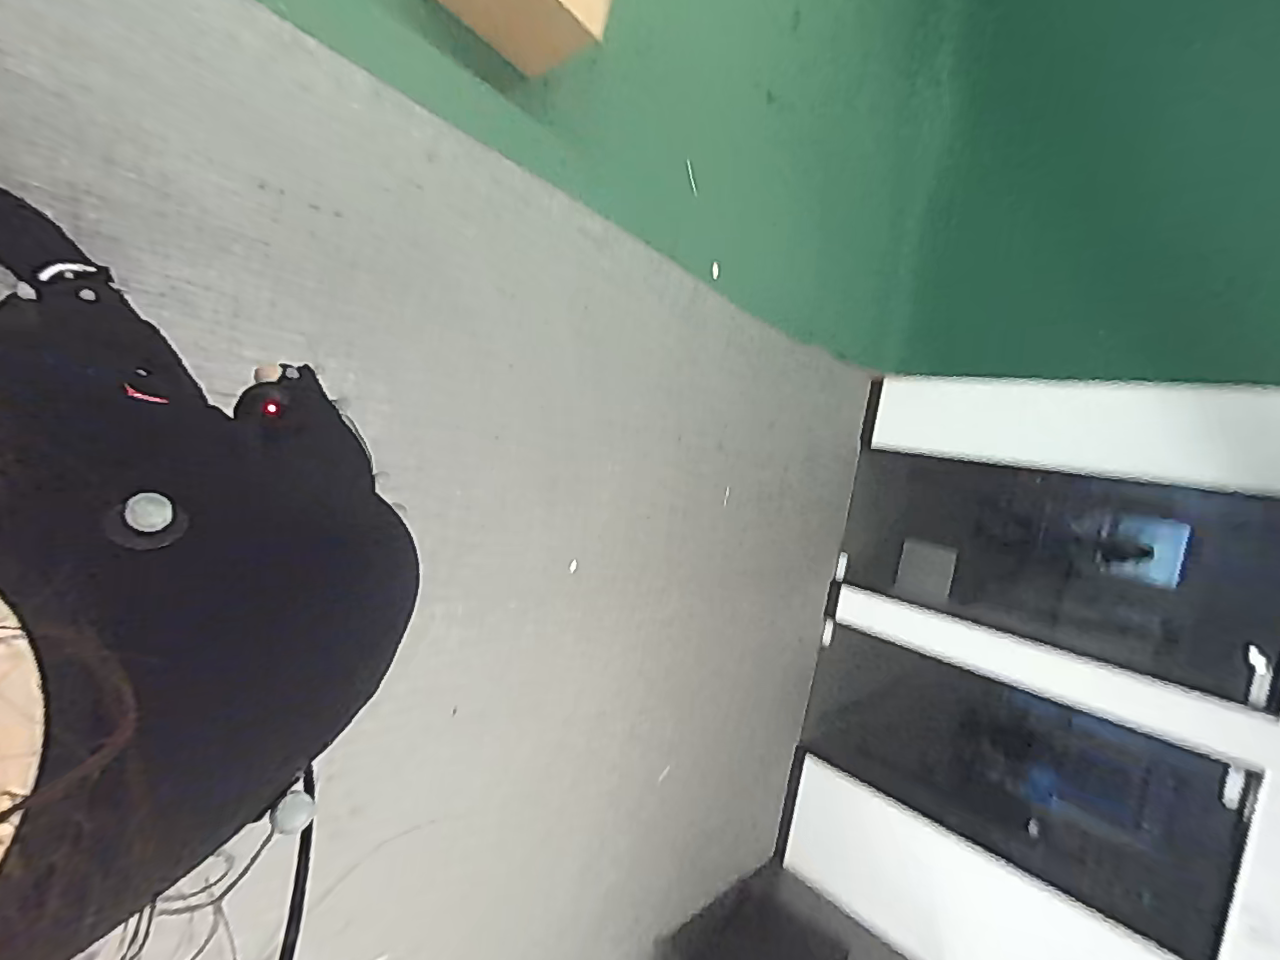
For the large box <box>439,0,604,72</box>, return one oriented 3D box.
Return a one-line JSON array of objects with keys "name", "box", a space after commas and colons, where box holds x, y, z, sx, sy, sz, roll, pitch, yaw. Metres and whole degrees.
[{"name": "large box", "box": [-0.321, -1.330, 1.328, 0.408, 0.320, 0.320, 11, 92, -48]}]
